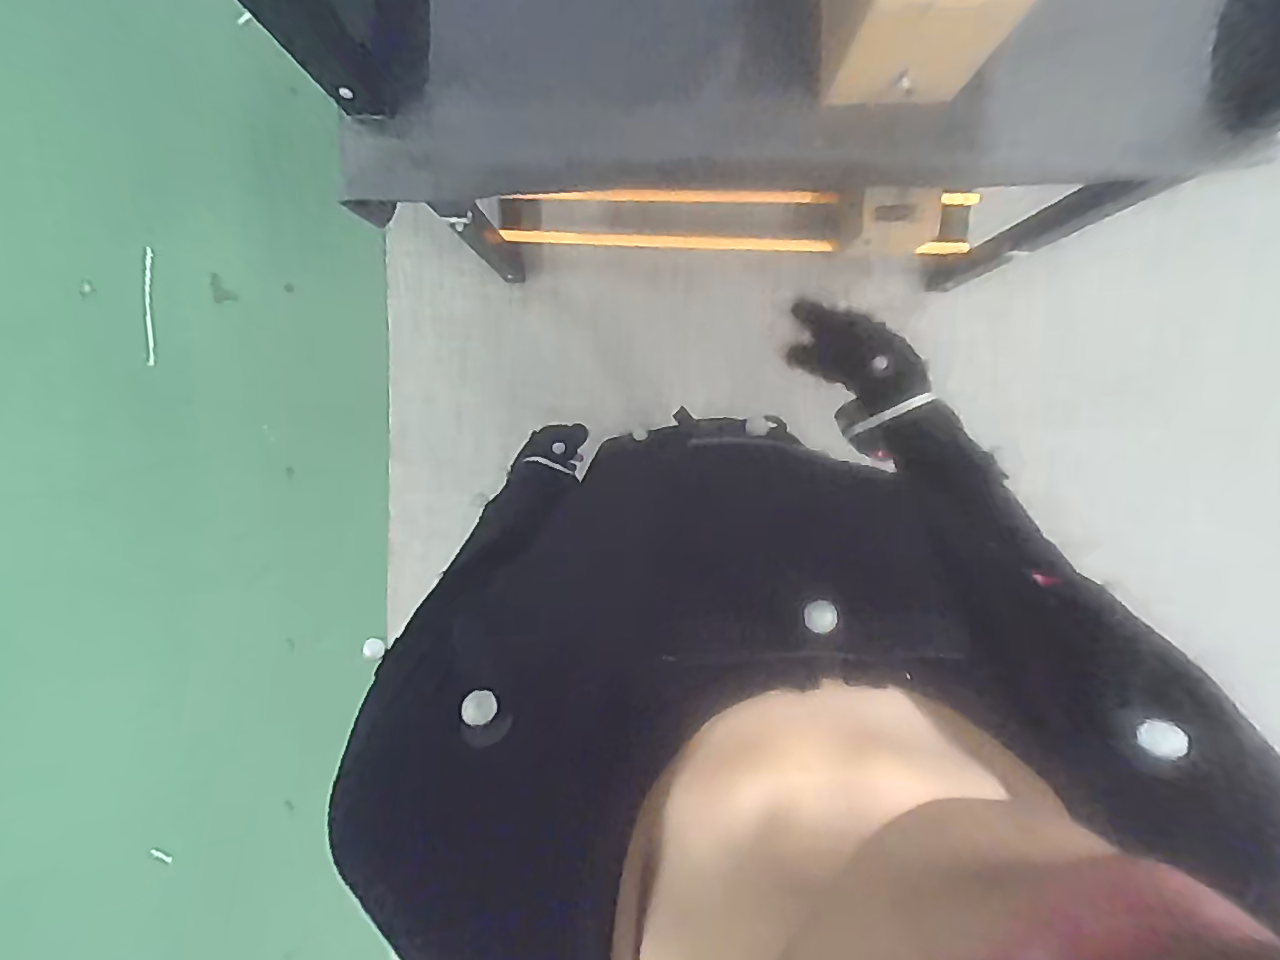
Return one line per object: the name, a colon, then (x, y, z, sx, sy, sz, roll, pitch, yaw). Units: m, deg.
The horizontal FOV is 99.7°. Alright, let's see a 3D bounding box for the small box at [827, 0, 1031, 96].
small box: (0.319, -0.576, 0.610, 0.168, 0.176, 0.179, -1, 94, 2)
